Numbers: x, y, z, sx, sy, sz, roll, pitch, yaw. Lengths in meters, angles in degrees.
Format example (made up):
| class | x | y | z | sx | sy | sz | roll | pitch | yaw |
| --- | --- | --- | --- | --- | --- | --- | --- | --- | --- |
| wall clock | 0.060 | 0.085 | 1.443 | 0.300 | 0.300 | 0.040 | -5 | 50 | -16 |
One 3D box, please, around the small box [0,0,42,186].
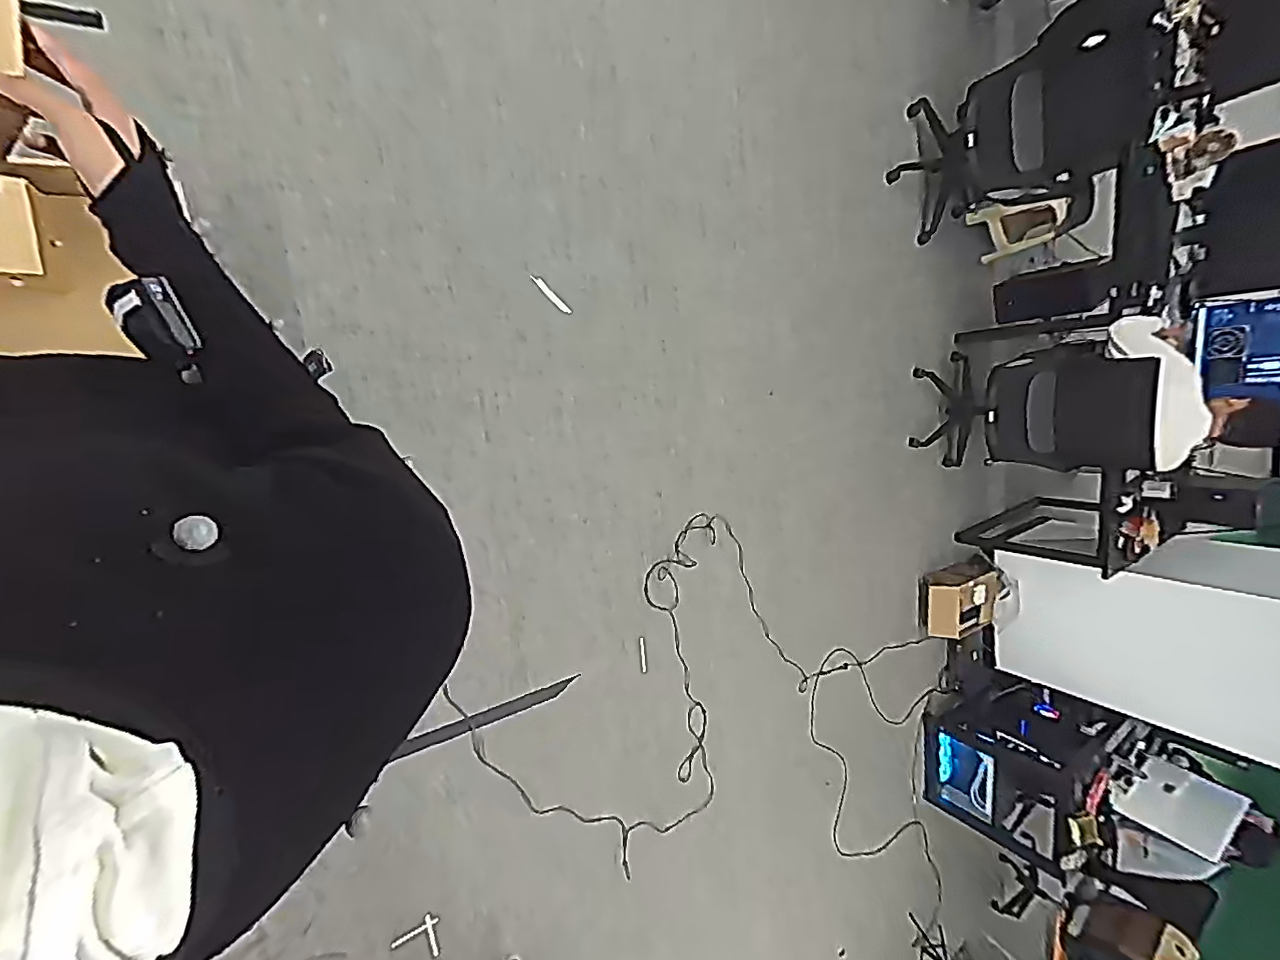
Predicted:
| class | x | y | z | sx | sy | sz | roll | pitch | yaw |
| --- | --- | --- | --- | --- | --- | --- | --- | --- | --- |
| small box | -0.567 | -0.342 | 0.381 | 0.168 | 0.176 | 0.179 | -6 | 92 | -57 |
